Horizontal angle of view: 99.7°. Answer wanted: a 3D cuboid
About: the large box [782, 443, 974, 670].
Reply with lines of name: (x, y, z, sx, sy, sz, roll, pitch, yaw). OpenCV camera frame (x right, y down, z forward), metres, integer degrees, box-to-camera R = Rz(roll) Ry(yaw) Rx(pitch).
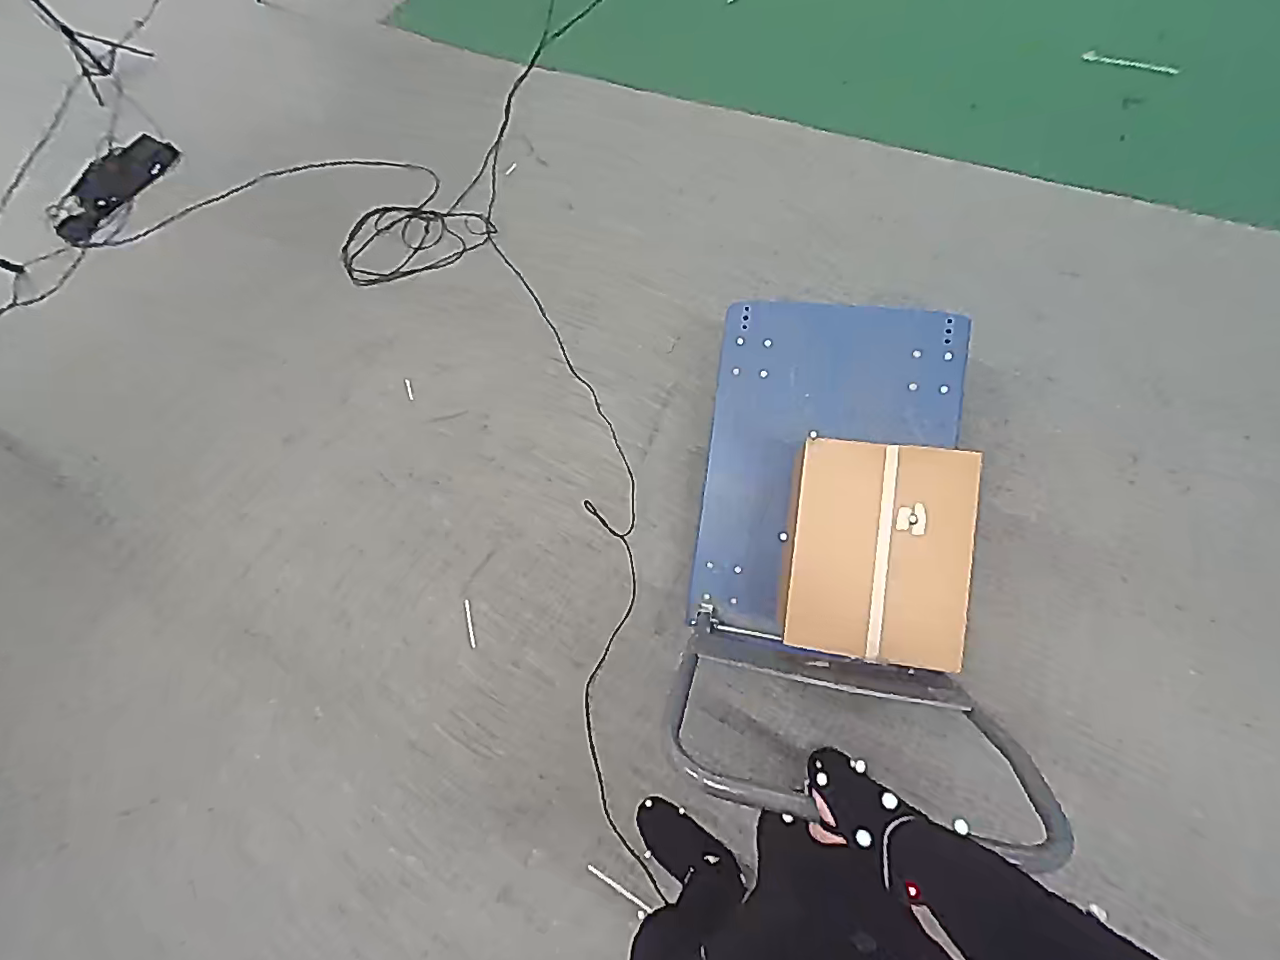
large box: (0.483, 0.150, 1.165, 0.320, 0.320, 0.408, 6, 86, 11)
